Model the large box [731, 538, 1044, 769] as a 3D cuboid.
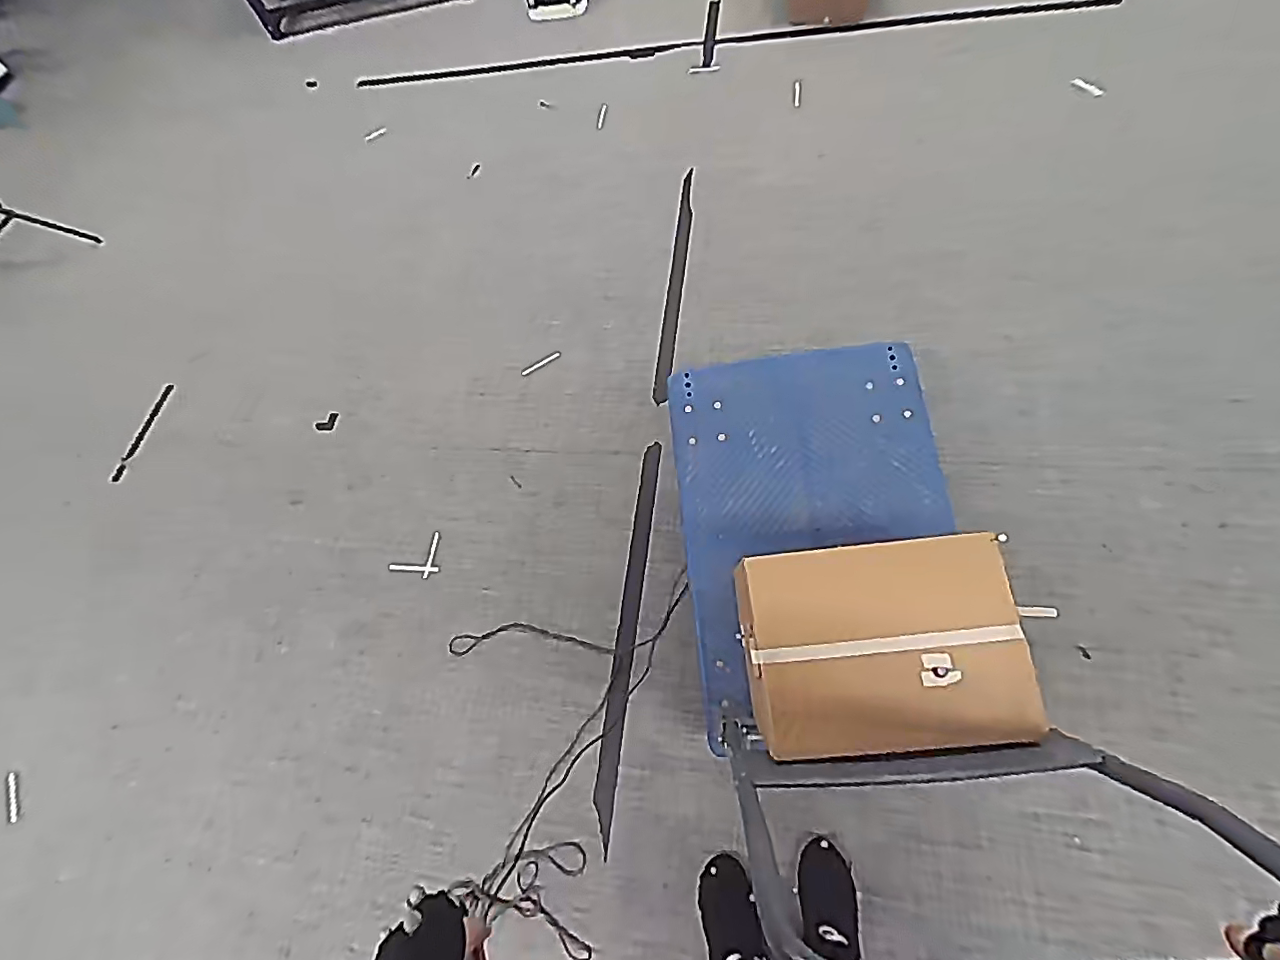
[{"bbox_3d":[0.395,0.300,0.984,0.408,0.320,0.320,-7,77,4],"label":"large box"}]
